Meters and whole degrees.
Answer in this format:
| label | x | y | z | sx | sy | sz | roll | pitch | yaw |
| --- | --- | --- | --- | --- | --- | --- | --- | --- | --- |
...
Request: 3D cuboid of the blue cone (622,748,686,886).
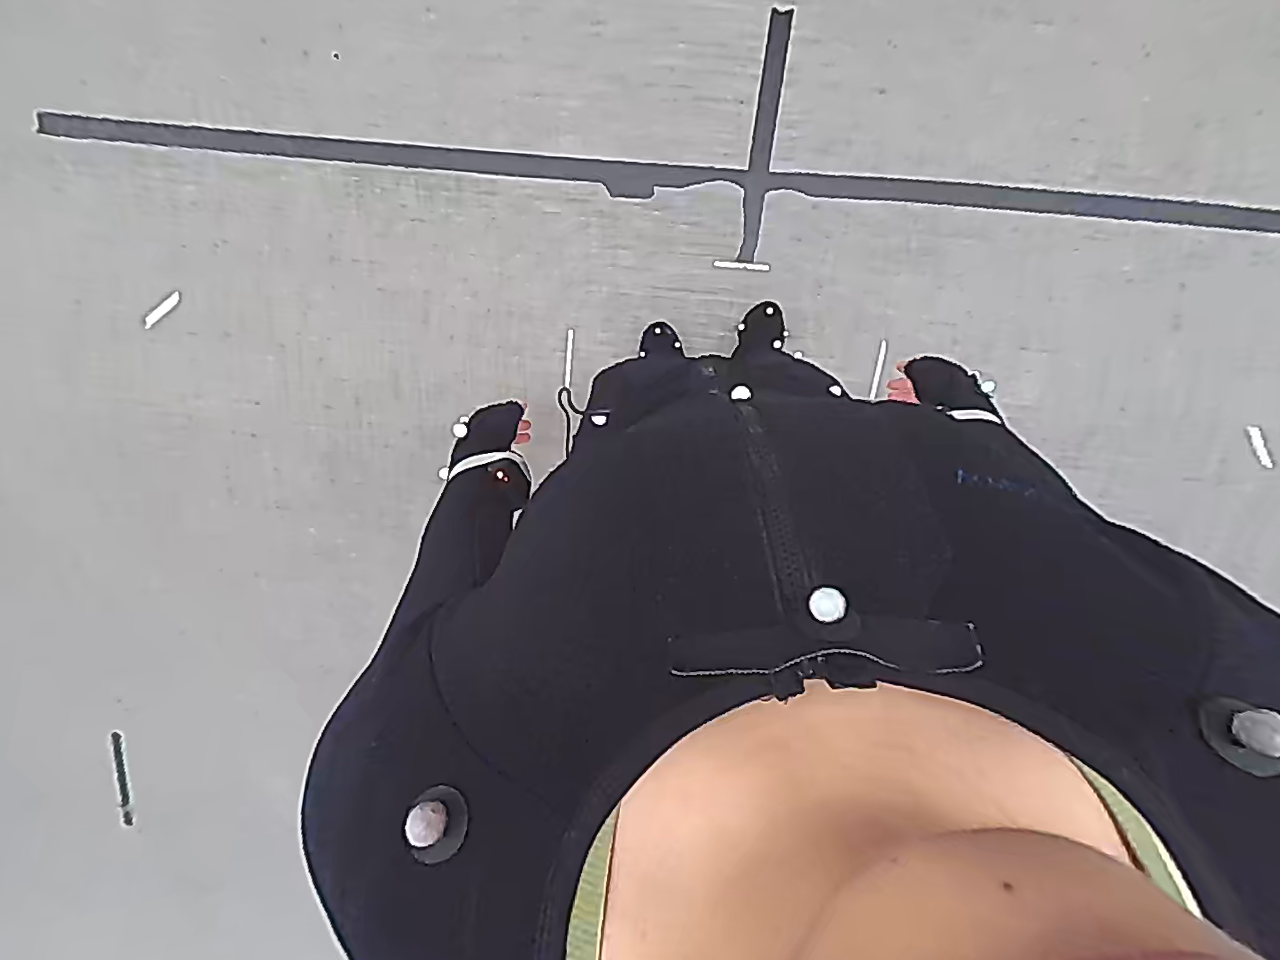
| label | x | y | z | sx | sy | sz | roll | pitch | yaw |
| --- | --- | --- | --- | --- | --- | --- | --- | --- | --- |
| blue cone | 0.039 | 0.995 | 1.580 | 0.193 | 0.380 | 0.192 | -9 | 106 | 6 |
